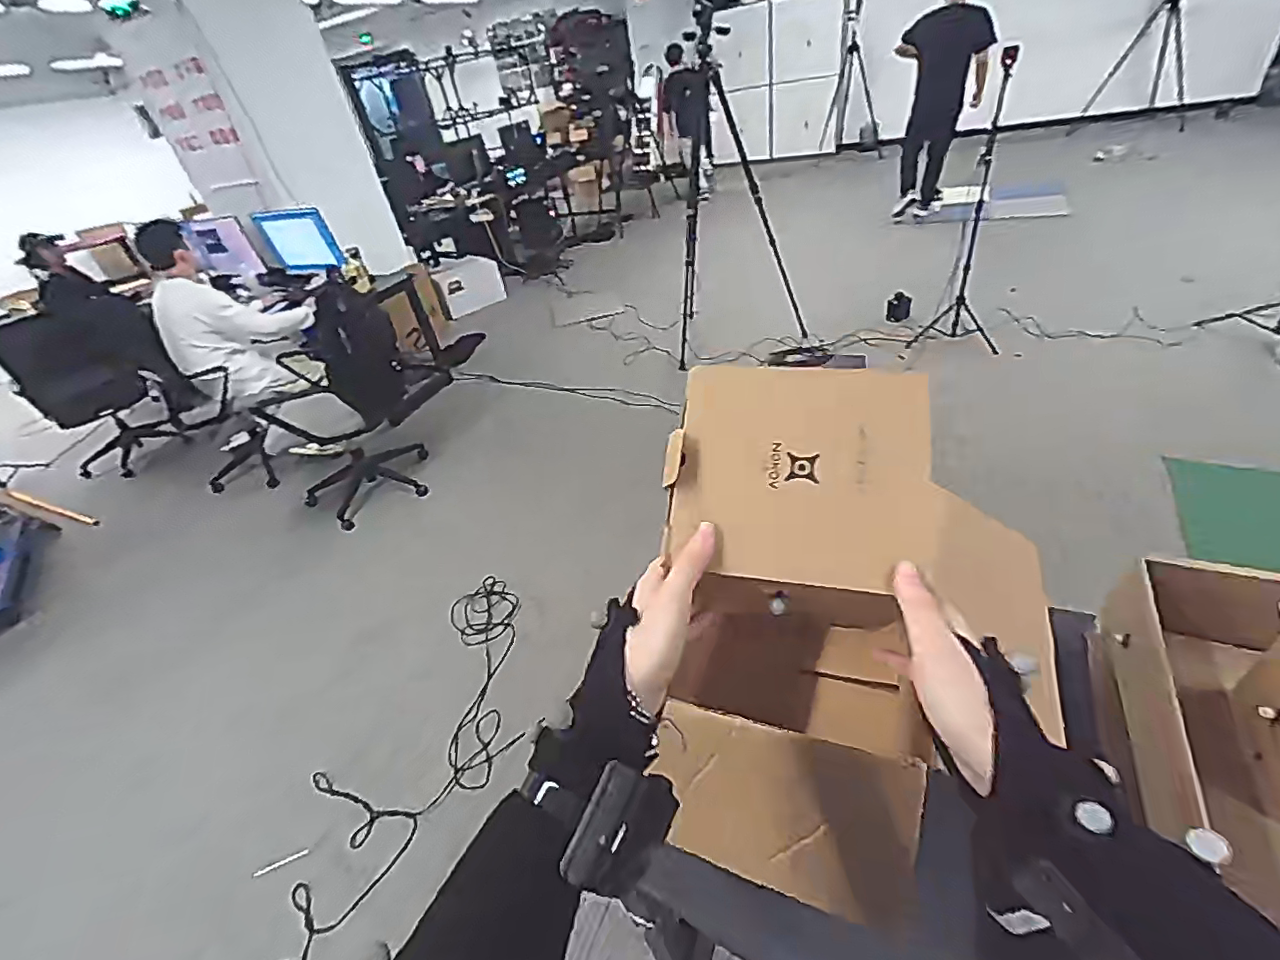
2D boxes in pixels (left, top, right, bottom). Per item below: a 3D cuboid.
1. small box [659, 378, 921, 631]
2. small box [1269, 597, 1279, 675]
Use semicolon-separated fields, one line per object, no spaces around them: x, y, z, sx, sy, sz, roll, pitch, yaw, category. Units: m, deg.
0.124;0.029;0.467;0.179;0.176;0.168;5;69;12;small box
0.728;0.155;0.483;0.179;0.176;0.168;16;46;30;small box
